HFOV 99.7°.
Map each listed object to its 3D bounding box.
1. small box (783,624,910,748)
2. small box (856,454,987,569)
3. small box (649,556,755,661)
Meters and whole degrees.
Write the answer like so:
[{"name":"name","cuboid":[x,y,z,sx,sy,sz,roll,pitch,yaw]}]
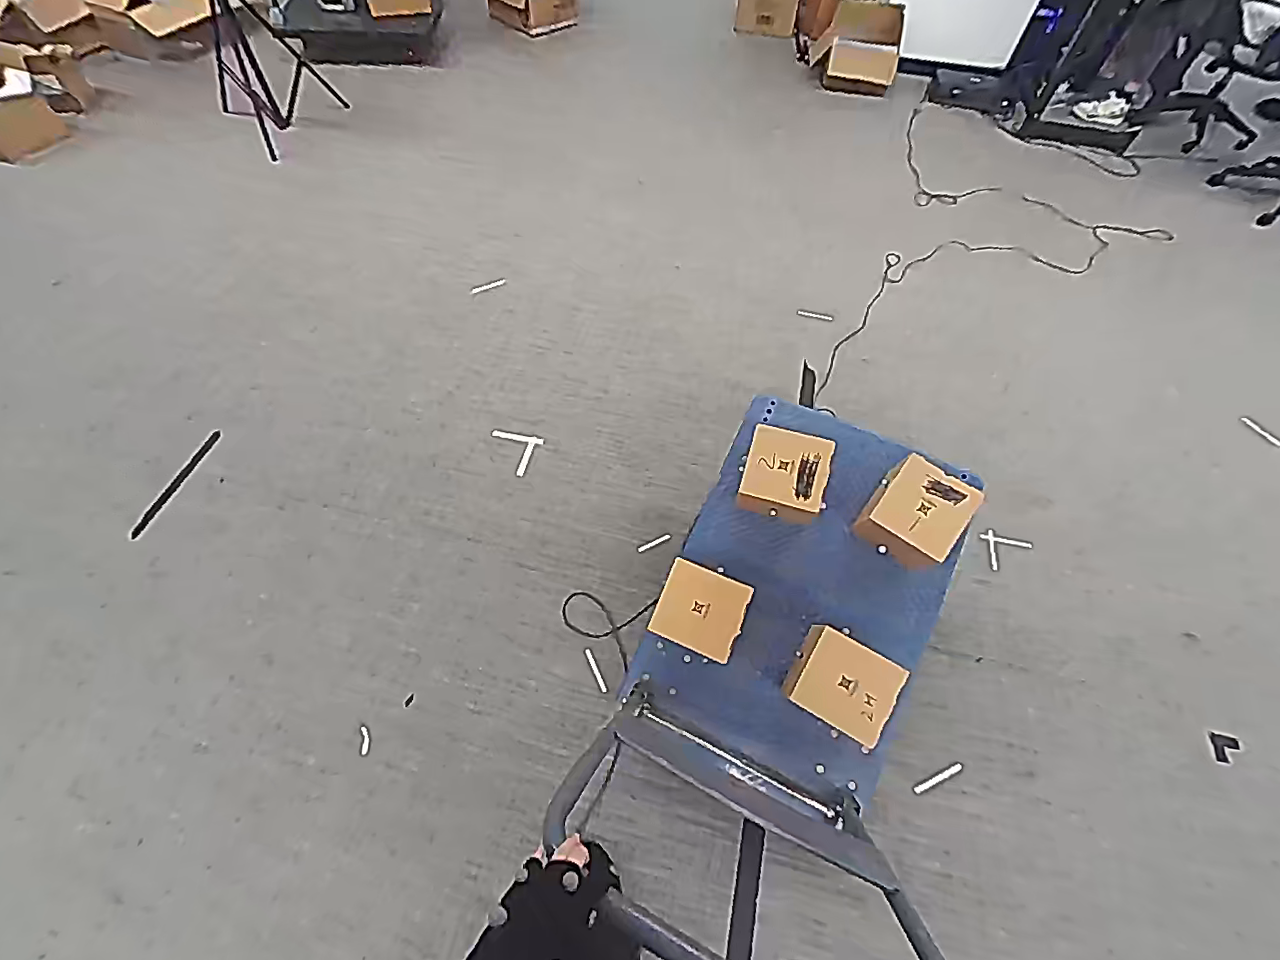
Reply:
[{"name":"small box","cuboid":[0.415,0.418,1.120,0.179,0.176,0.168,29,82,14]},{"name":"small box","cuboid":[0.603,0.076,1.185,0.168,0.176,0.179,35,84,15]},{"name":"small box","cuboid":[0.136,0.284,1.193,0.179,0.176,0.168,22,79,11]}]
